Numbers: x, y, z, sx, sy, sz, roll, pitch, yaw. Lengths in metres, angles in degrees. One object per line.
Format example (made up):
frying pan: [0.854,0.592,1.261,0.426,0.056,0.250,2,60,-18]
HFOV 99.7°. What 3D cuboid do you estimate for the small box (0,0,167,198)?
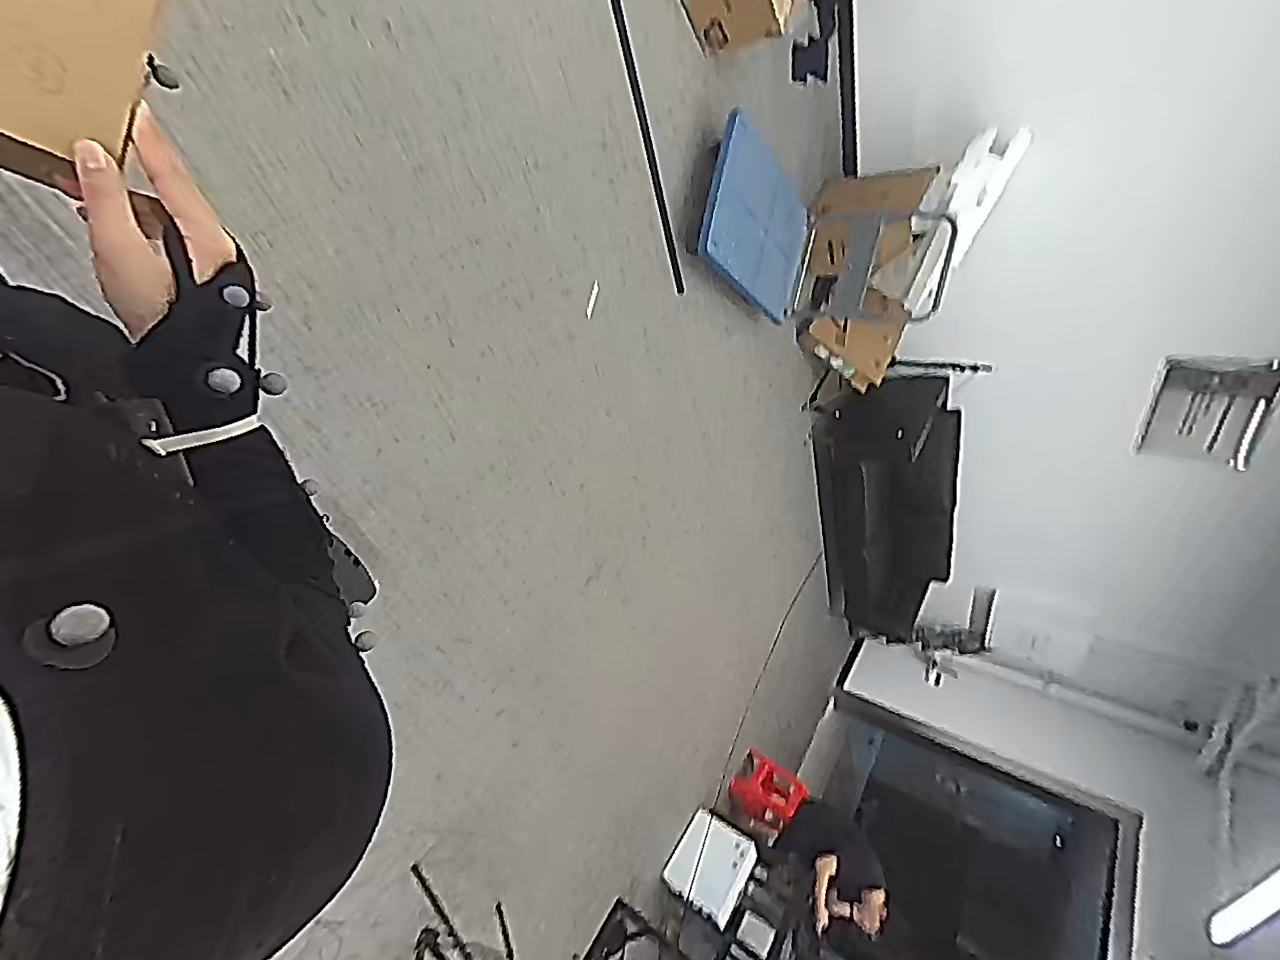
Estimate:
small box: [-0.375,-0.281,0.290,0.168,0.176,0.179,13,94,-46]
